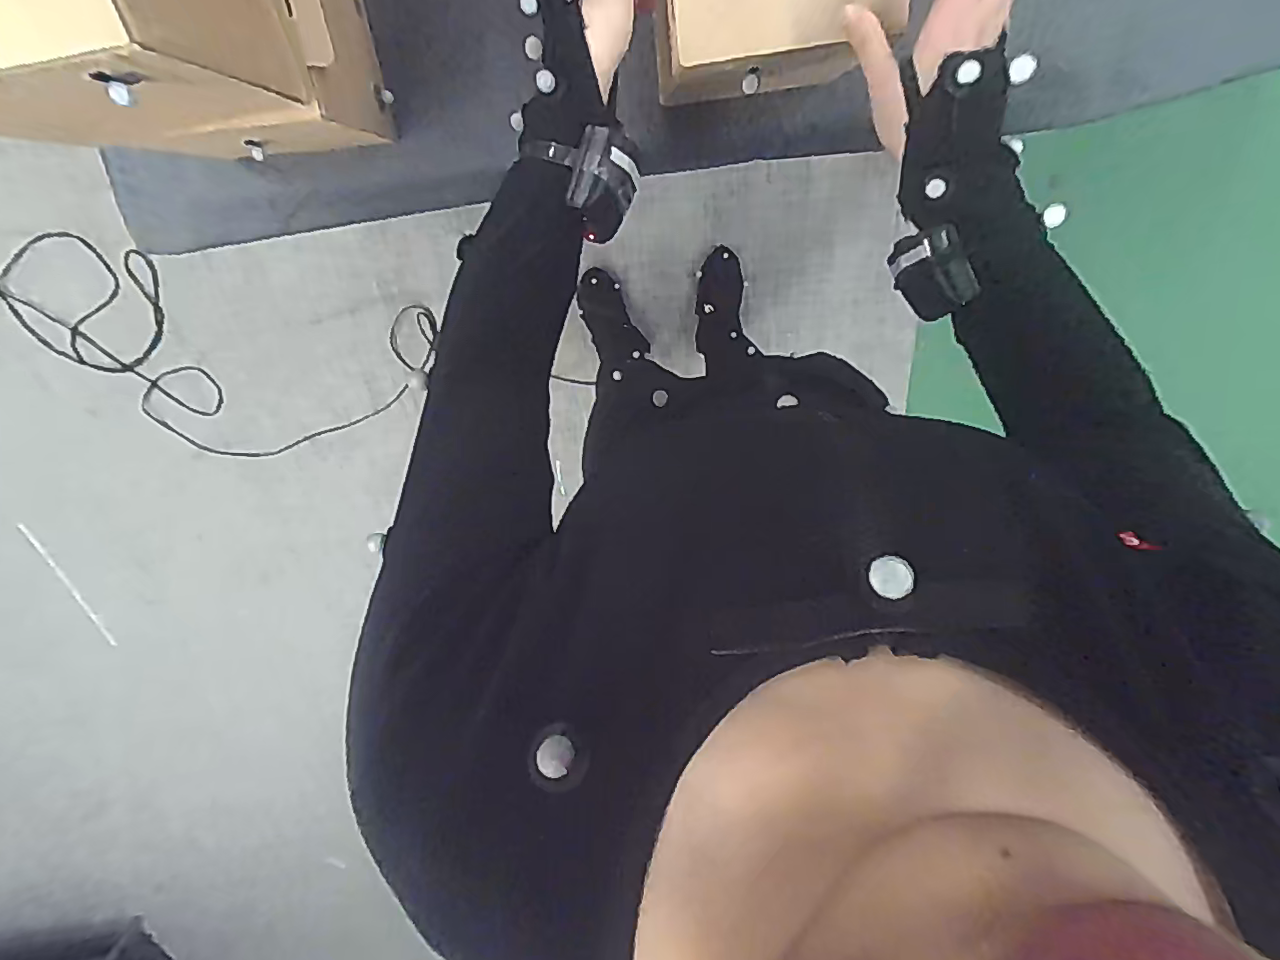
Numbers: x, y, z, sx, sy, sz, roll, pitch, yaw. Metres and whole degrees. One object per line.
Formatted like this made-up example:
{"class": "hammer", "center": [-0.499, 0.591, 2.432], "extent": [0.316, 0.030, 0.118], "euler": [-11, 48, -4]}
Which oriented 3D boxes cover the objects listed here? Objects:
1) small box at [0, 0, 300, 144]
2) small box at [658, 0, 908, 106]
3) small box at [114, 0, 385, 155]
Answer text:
{"class": "small box", "center": [-0.340, -0.300, 0.298], "extent": [0.179, 0.176, 0.168], "euler": [-10, 117, 1]}
{"class": "small box", "center": [0.102, -0.426, 0.441], "extent": [0.179, 0.176, 0.168], "euler": [-6, 117, 3]}
{"class": "small box", "center": [-0.334, -0.373, 0.444], "extent": [0.179, 0.176, 0.168], "euler": [-6, 117, 0]}
